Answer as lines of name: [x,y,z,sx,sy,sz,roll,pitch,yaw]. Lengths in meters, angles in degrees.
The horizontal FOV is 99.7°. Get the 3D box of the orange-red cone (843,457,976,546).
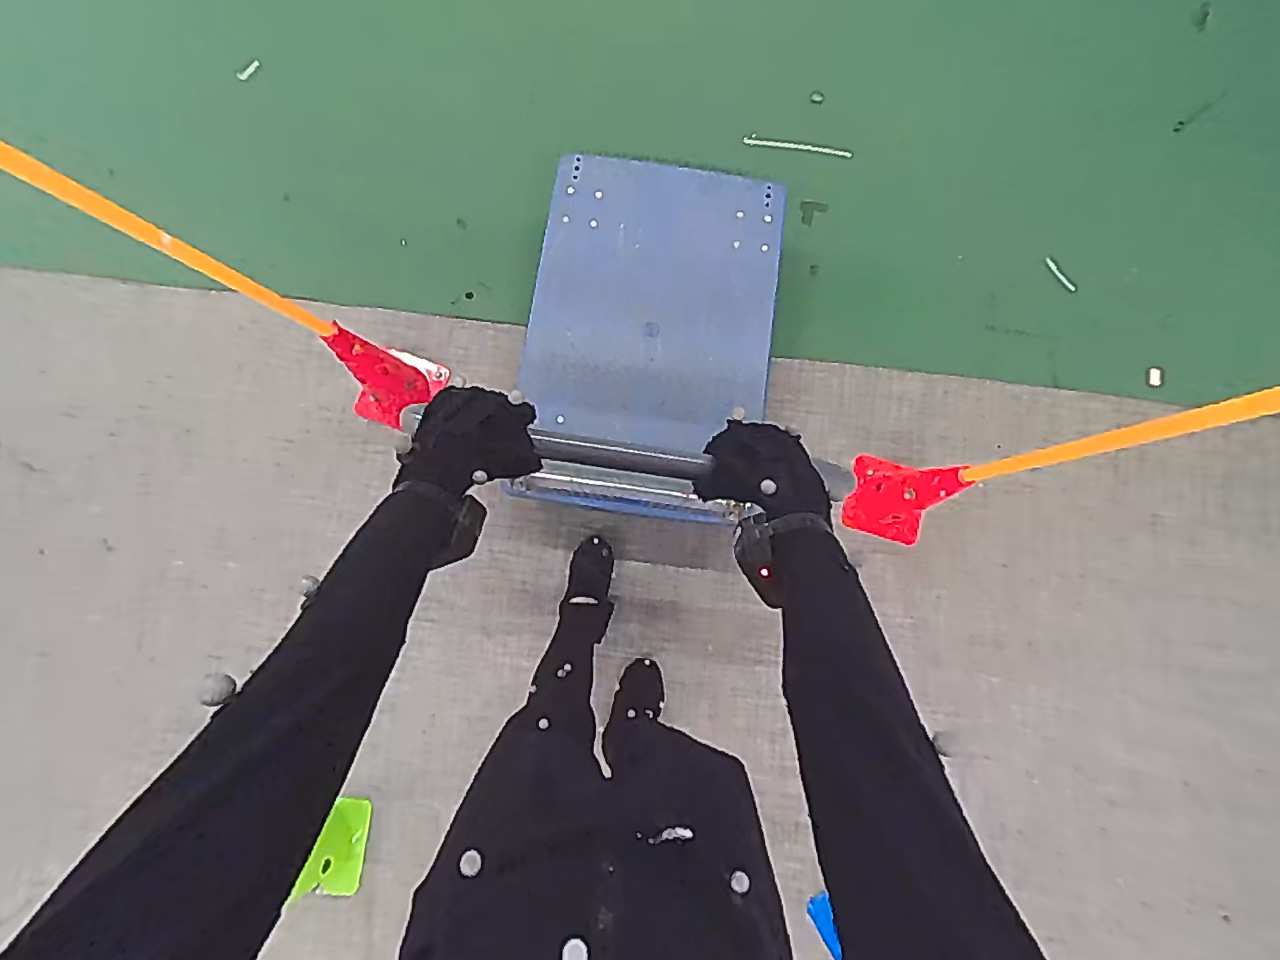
orange-red cone: [0.638,0.023,1.227,0.198,0.360,0.199,18,81,3]
